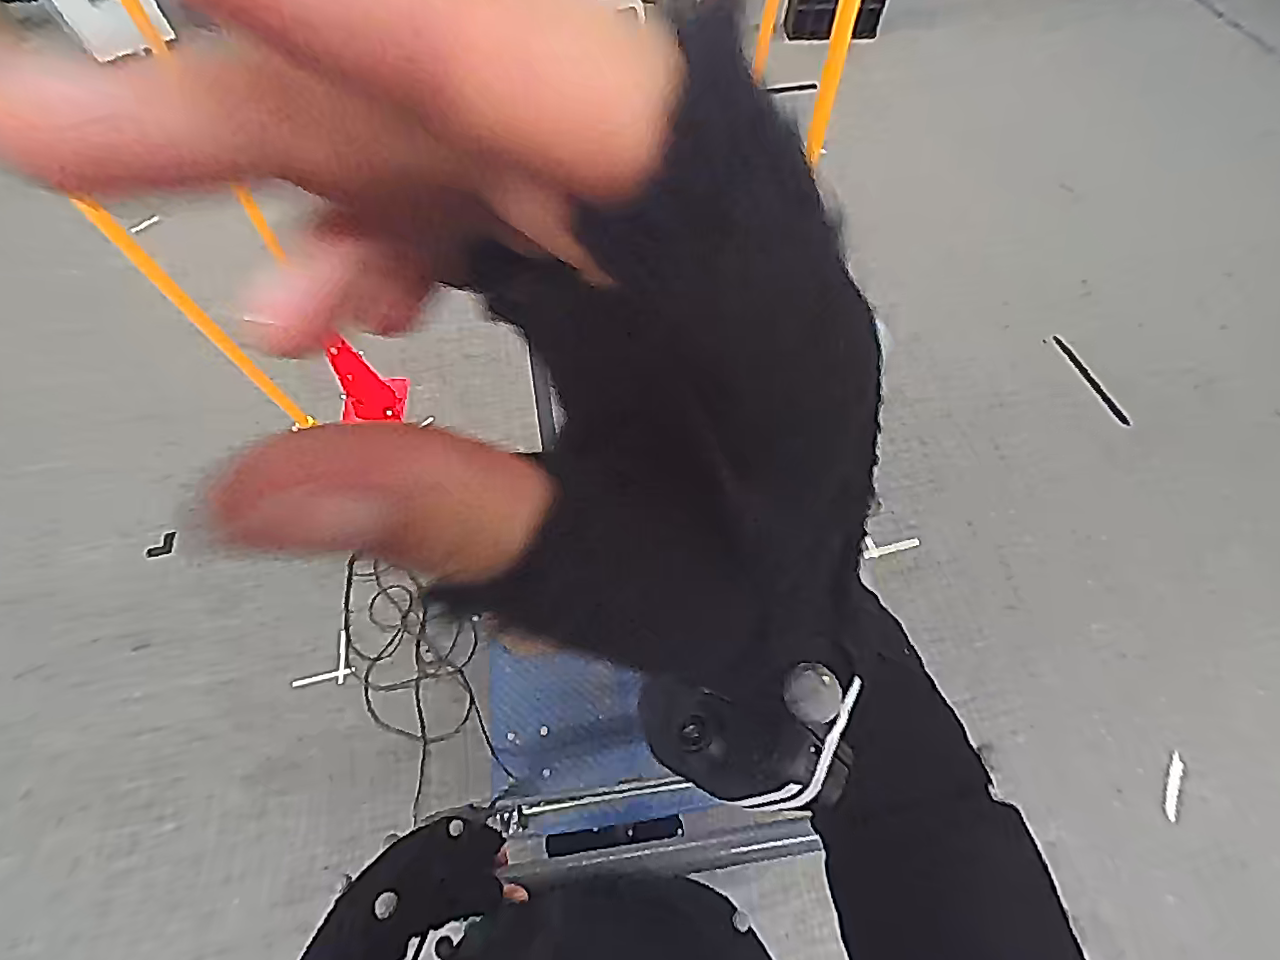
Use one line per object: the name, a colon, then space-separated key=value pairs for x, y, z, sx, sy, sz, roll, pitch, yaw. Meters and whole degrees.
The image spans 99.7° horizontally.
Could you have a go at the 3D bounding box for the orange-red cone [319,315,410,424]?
orange-red cone: x=-0.865 y=-0.352 z=1.631 sx=0.198 sy=0.360 sz=0.199 roll=-3 pitch=60 yaw=-3
